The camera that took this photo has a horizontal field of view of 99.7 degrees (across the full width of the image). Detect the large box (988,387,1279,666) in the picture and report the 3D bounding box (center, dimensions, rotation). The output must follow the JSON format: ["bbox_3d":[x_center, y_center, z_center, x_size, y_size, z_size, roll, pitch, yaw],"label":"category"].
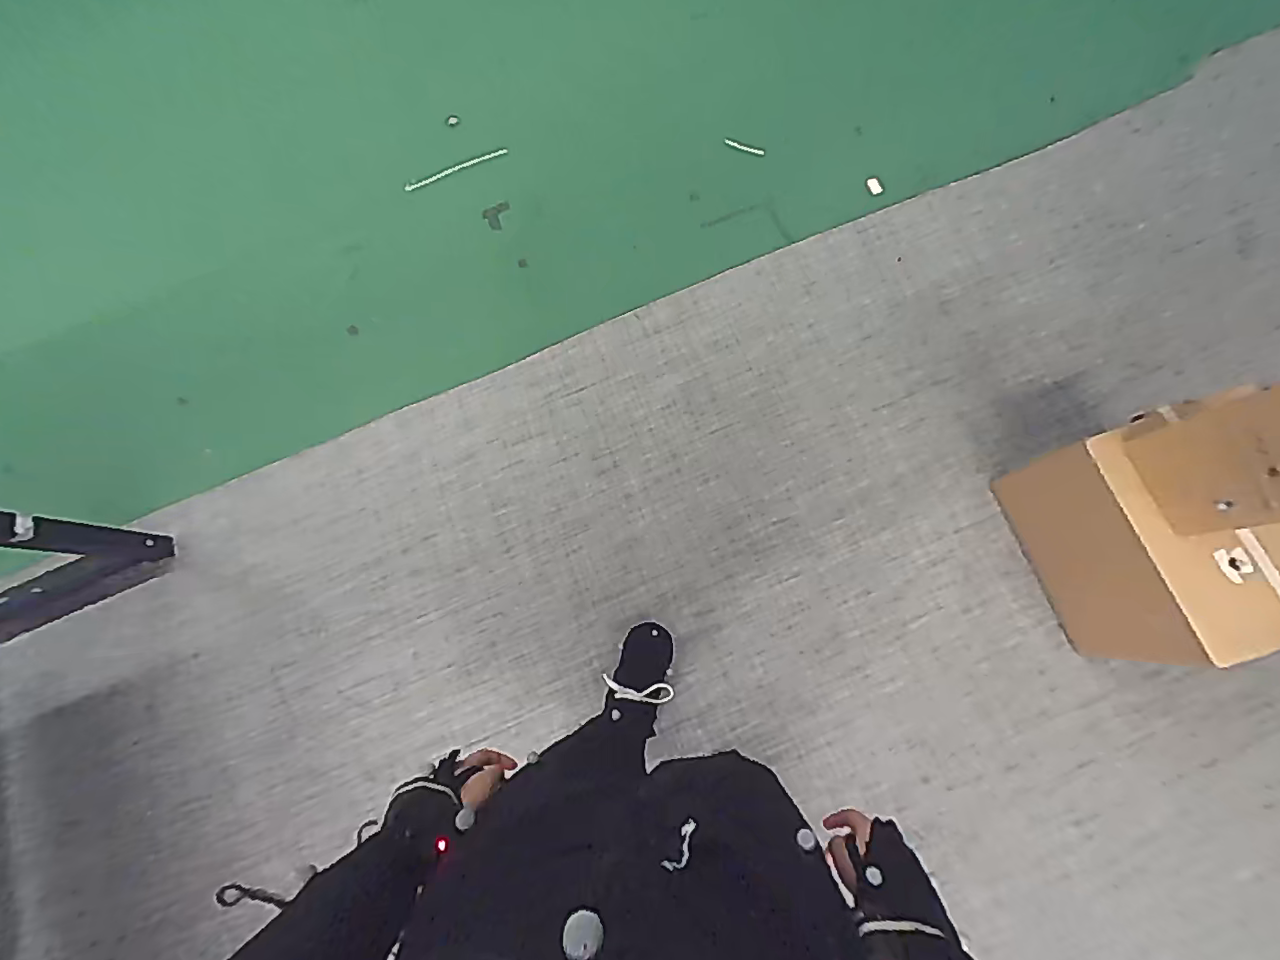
[{"bbox_3d":[0.985,0.097,1.044,0.320,0.320,0.408,-20,76,0],"label":"large box"}]

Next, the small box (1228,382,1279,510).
[{"bbox_3d":[0.908,-0.068,0.671,0.179,0.176,0.168,-16,78,-1],"label":"small box"}]
